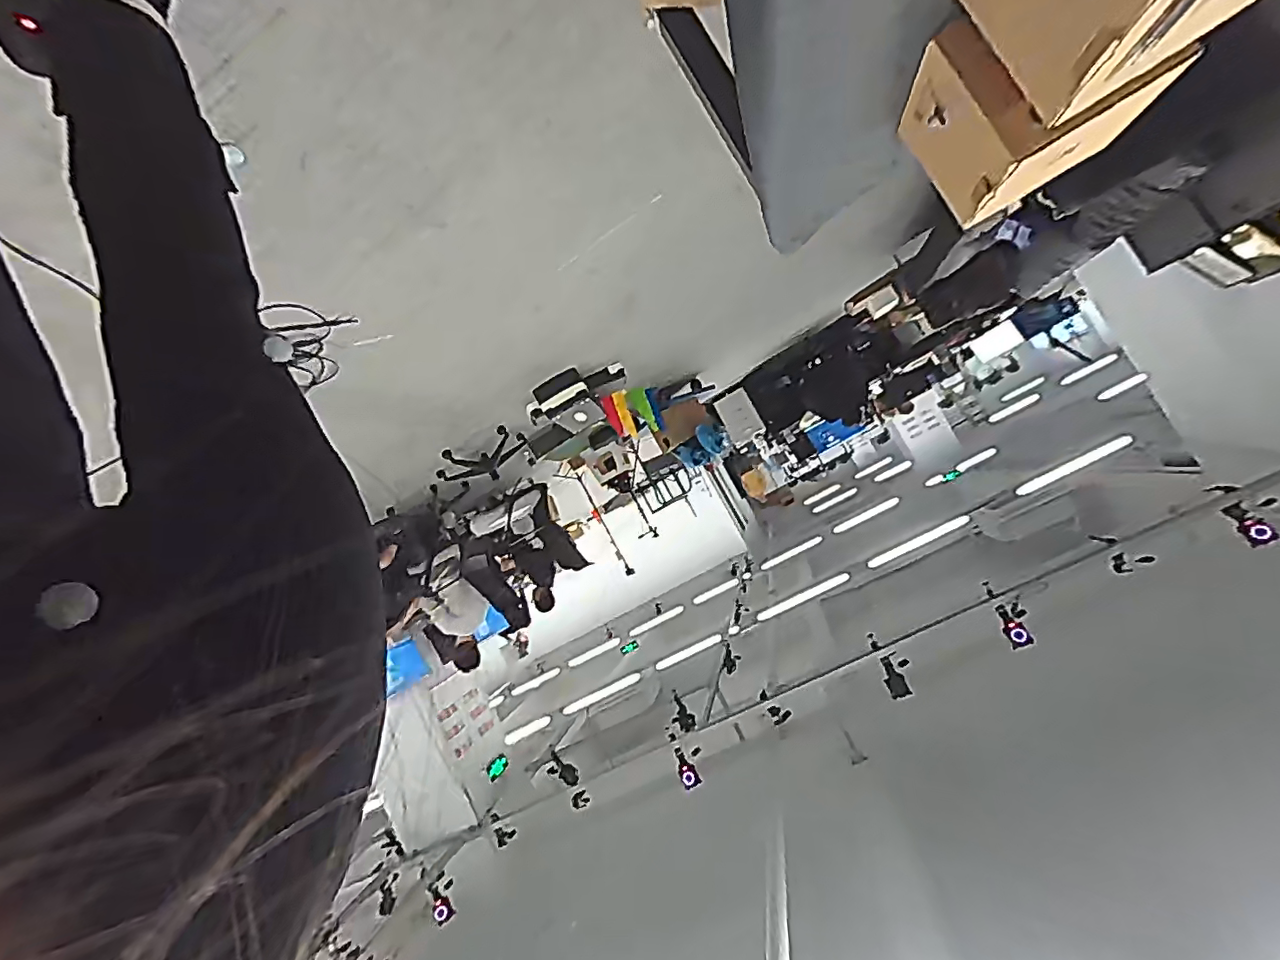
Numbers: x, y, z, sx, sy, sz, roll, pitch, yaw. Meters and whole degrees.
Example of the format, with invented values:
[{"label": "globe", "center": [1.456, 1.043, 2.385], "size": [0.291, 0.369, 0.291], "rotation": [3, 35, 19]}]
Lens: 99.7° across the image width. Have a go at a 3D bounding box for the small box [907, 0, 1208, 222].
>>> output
[{"label": "small box", "center": [0.436, -0.439, 0.602], "size": [0.179, 0.176, 0.168], "rotation": [-29, 175, 15]}]
